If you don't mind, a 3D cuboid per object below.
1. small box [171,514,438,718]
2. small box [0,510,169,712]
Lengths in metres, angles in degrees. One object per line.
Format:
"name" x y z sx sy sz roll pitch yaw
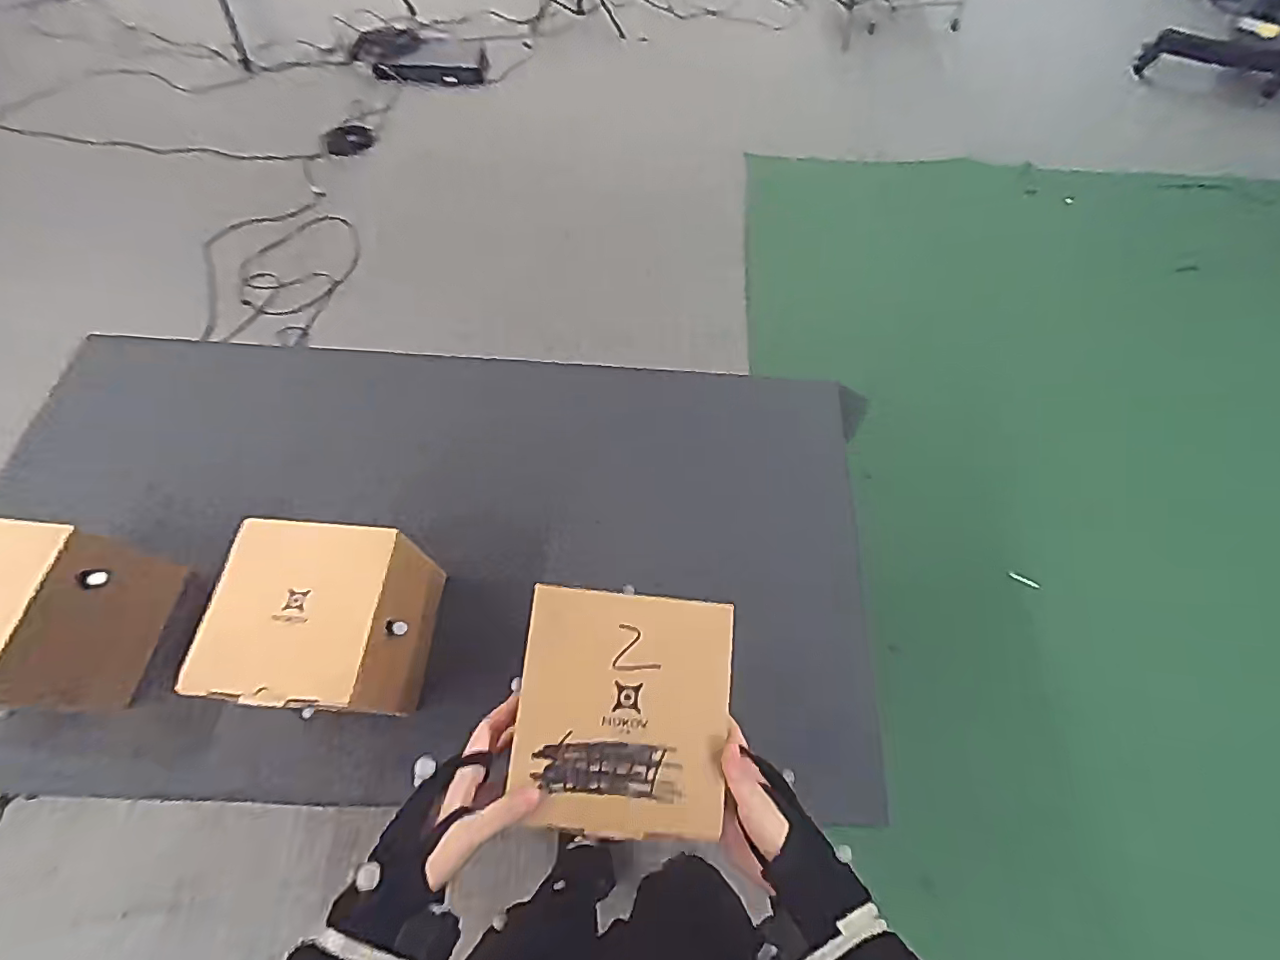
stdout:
"small box" -0.338 0.155 0.593 0.168 0.176 0.179 5 64 0
"small box" -0.670 0.142 0.580 0.168 0.176 0.179 6 63 1
